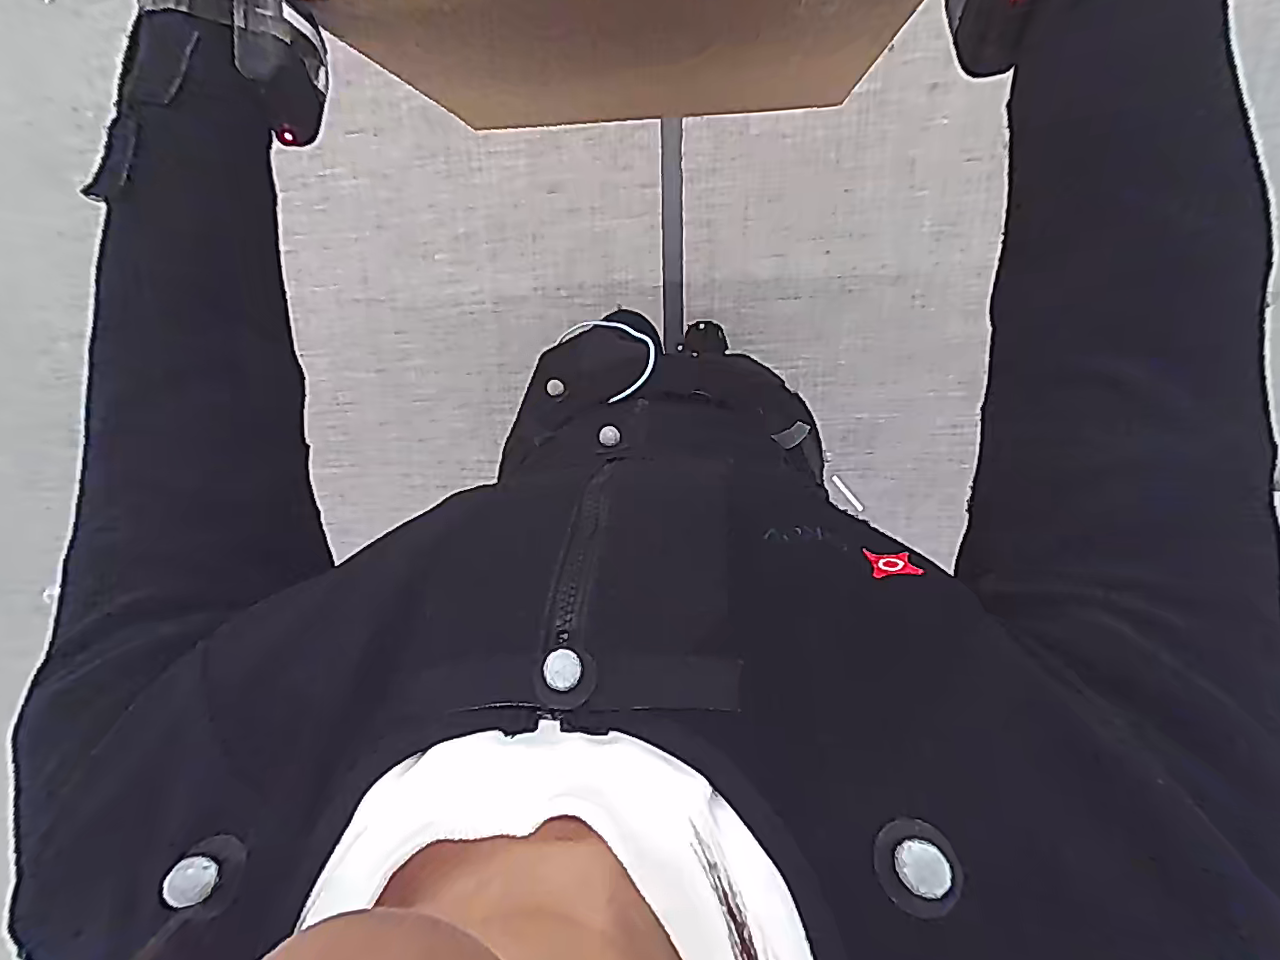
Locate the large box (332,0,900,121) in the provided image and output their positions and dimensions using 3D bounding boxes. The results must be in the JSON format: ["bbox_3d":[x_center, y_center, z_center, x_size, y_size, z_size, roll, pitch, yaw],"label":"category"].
[{"bbox_3d":[-0.007,-0.500,0.399,0.408,0.320,0.320,-1,111,6],"label":"large box"}]
